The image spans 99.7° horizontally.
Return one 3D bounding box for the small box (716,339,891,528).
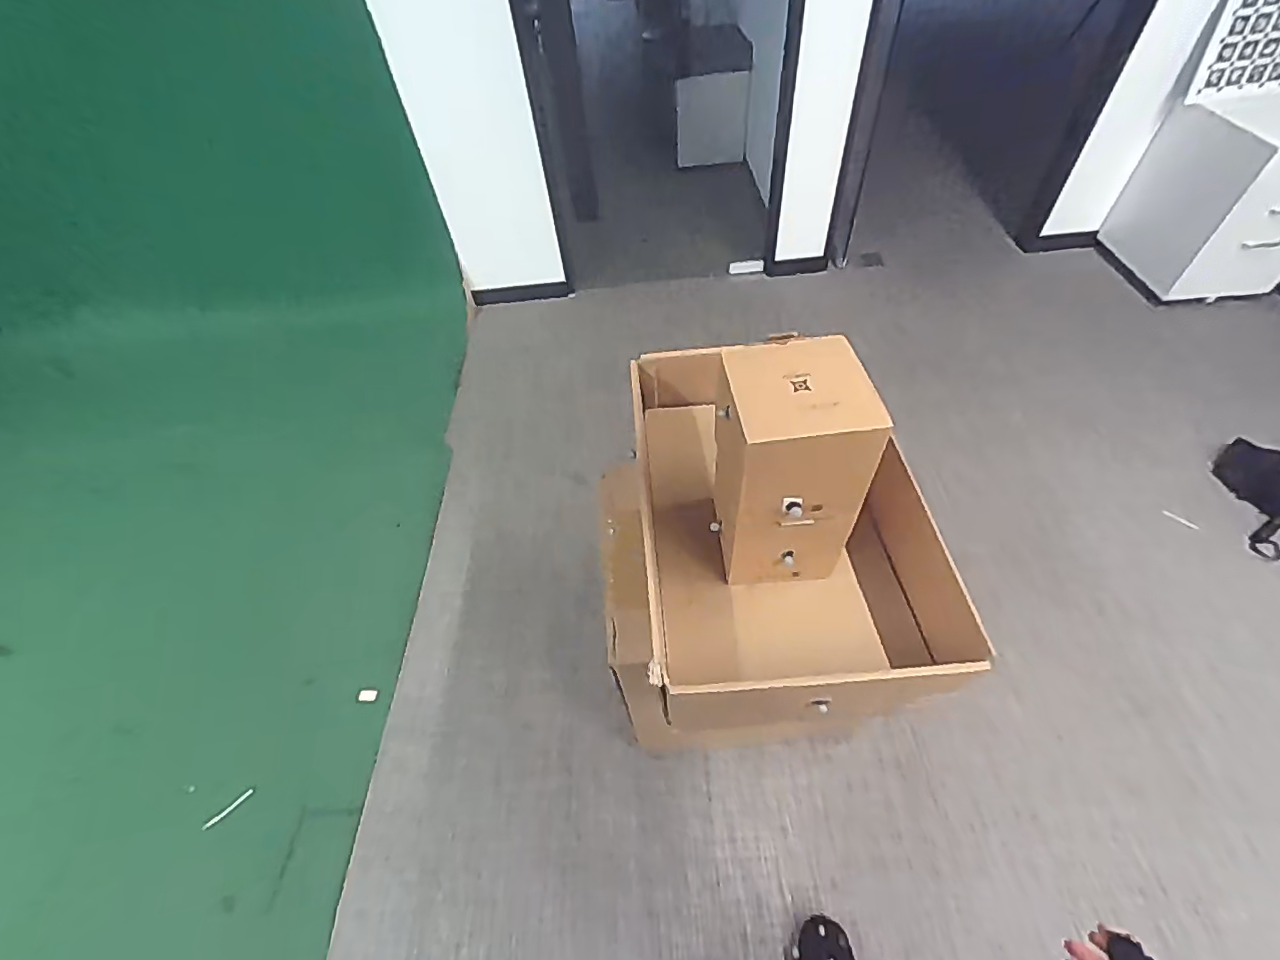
[{"bbox_3d":[0.198,-0.060,0.716,0.168,0.176,0.179,-7,51,0],"label":"small box"}]
